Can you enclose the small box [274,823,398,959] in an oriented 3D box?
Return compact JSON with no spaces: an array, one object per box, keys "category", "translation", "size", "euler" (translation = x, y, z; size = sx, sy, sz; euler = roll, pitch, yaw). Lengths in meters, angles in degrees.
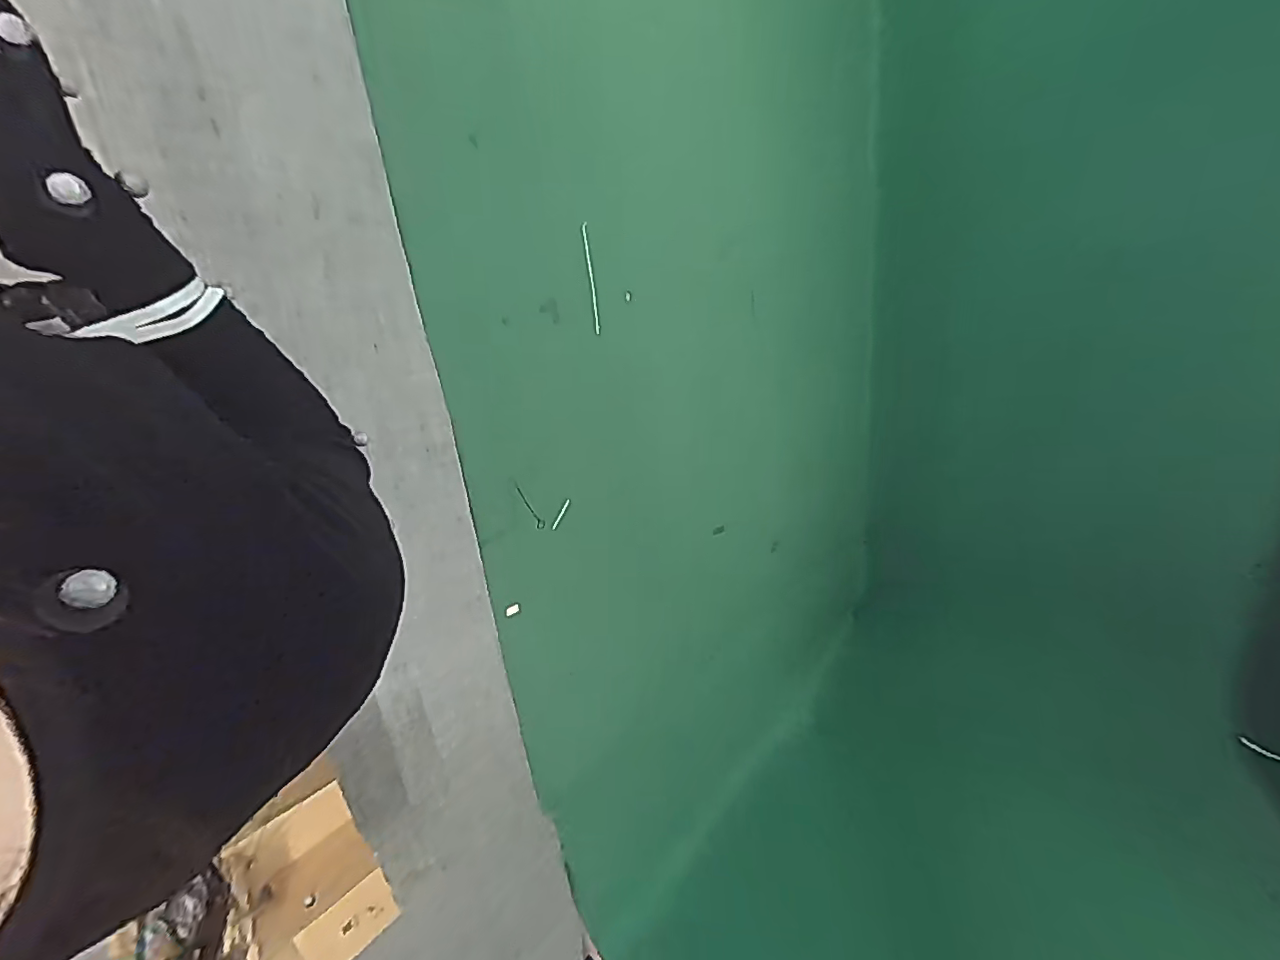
[{"category":"small box","translation":[-0.666,0.908,1.177],"size":[0.179,0.176,0.168],"euler":[-27,120,-41]}]
